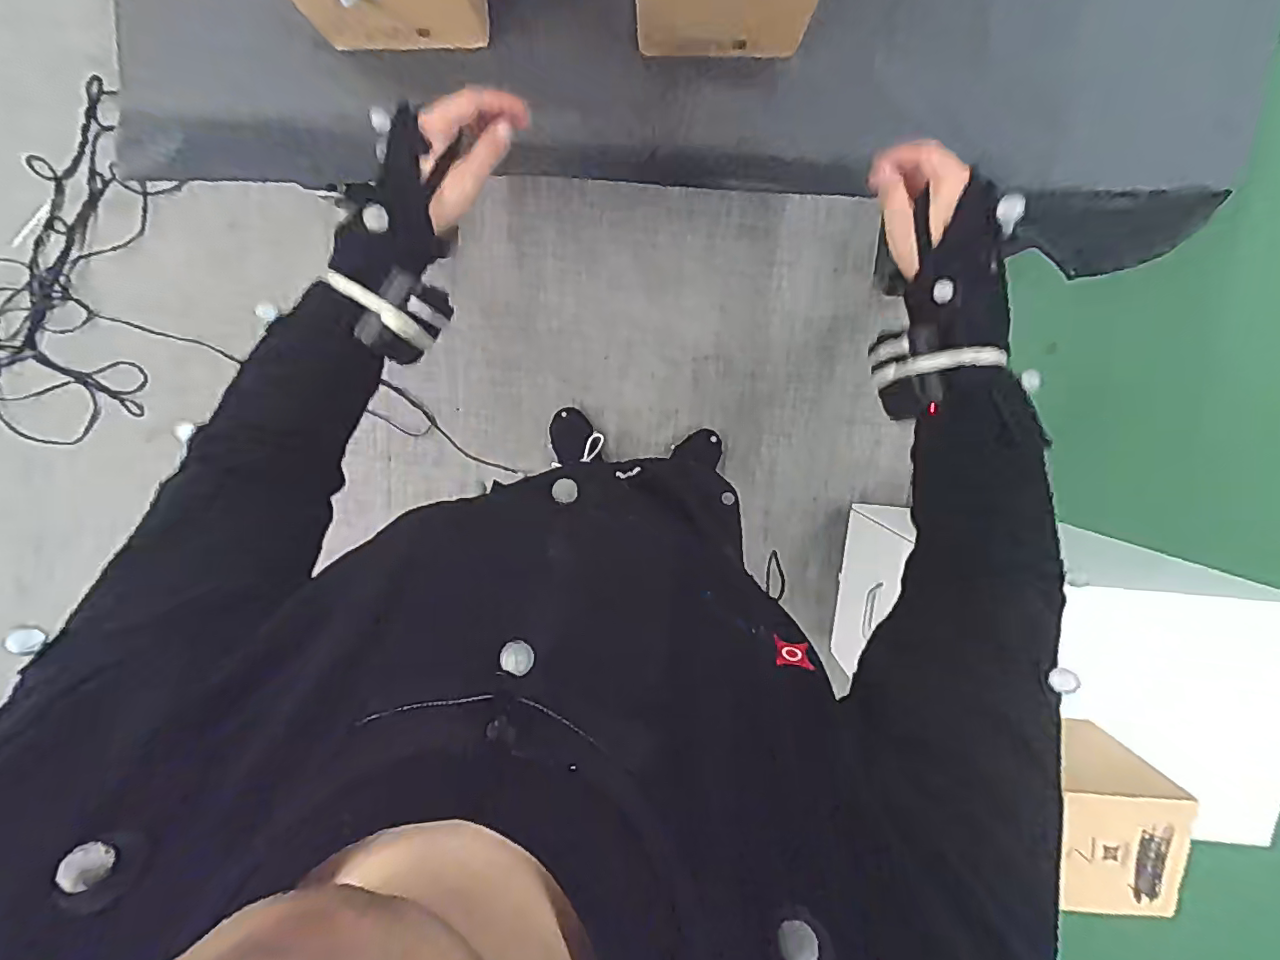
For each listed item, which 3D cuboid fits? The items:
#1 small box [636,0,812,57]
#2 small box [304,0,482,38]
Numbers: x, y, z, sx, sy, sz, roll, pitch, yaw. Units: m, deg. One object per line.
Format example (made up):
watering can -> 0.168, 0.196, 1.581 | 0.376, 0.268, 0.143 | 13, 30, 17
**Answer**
small box -> 0.079, -0.522, 0.474 | 0.168, 0.176, 0.179 | 2, 98, 0
small box -> -0.244, -0.532, 0.475 | 0.168, 0.176, 0.179 | 0, 99, 0
